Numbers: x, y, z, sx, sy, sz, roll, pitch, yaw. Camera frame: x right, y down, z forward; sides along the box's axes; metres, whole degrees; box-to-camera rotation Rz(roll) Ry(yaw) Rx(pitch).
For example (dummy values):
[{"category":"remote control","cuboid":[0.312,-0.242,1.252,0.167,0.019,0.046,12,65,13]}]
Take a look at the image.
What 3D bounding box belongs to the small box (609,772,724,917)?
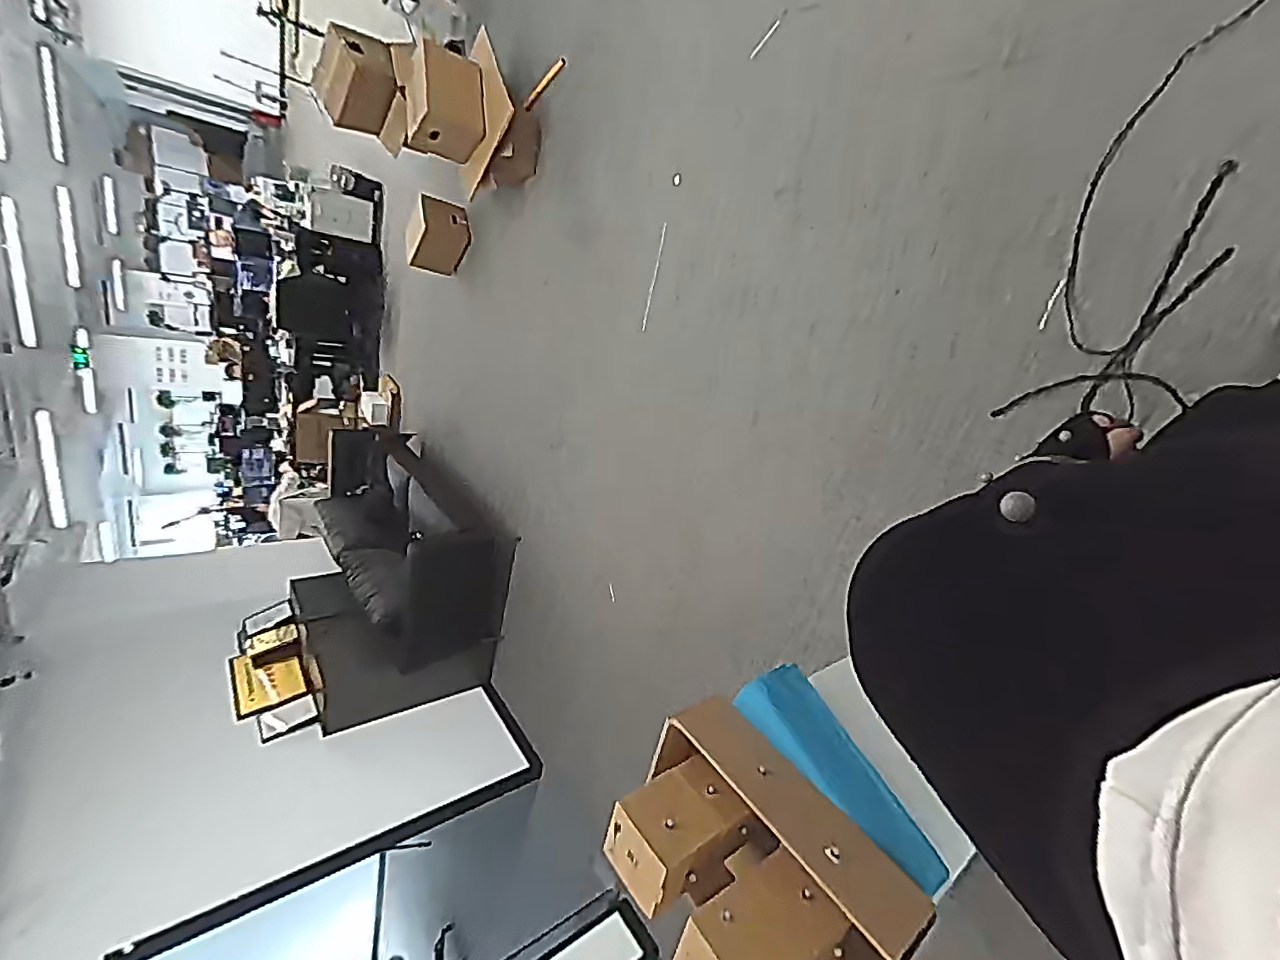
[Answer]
[{"category":"small box","cuboid":[0.060,0.800,1.207,0.179,0.176,0.168,33,118,42]}]
